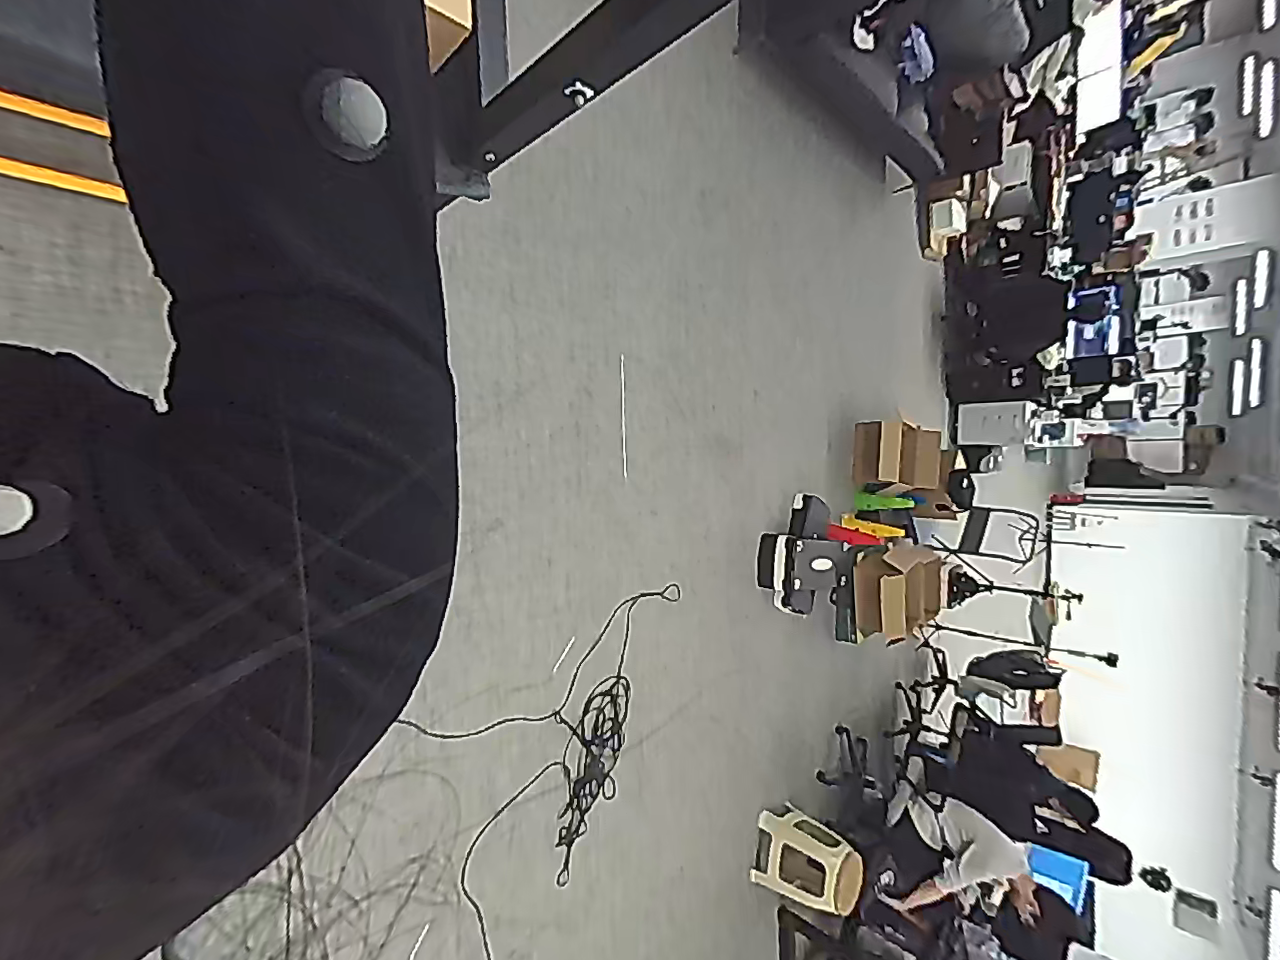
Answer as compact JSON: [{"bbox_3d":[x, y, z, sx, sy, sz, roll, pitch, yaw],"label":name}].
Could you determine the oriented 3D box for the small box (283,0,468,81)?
[{"bbox_3d":[-0.330,-0.645,0.665,0.168,0.176,0.179,-7,96,-46],"label":"small box"}]
